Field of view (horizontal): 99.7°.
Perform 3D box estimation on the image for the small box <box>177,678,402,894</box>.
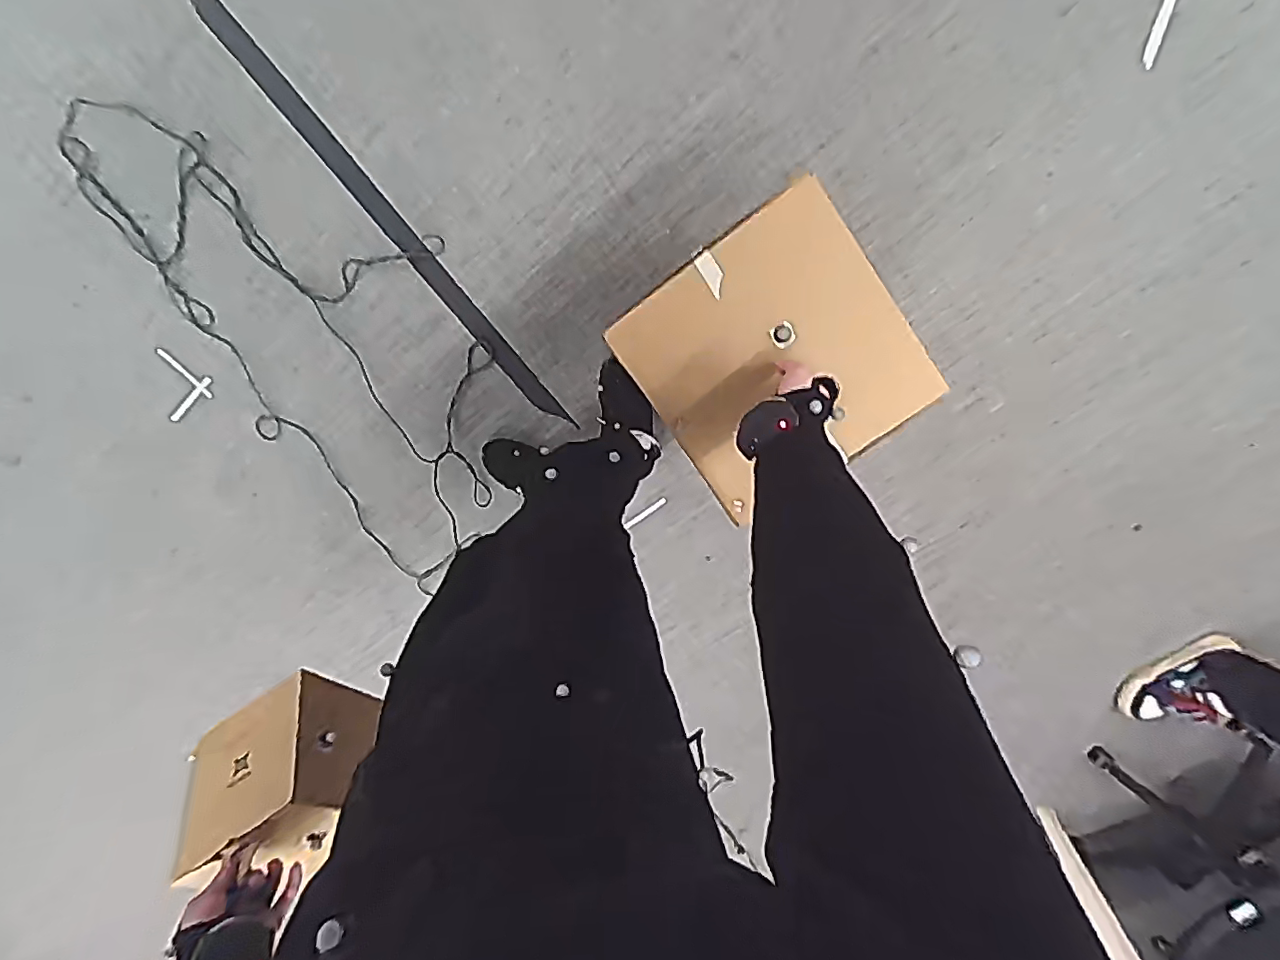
[{"bbox_3d":[-0.430,0.396,0.696,0.168,0.179,0.176,-35,133,1],"label":"small box"}]
